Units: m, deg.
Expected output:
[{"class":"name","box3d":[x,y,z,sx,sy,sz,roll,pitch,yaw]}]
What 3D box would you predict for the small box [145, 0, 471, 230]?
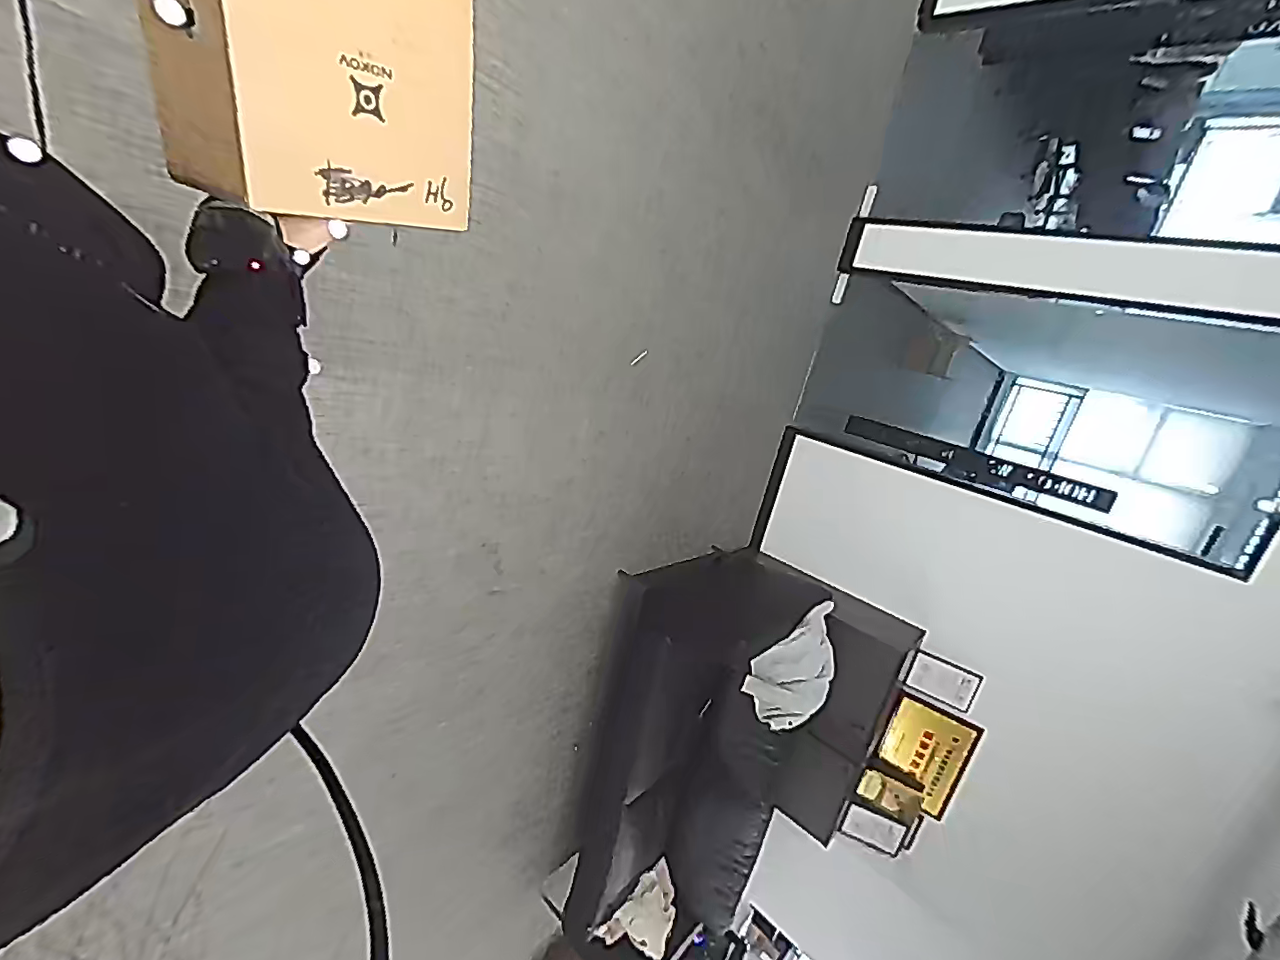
[{"class":"small box","box3d":[-0.252,-0.306,0.423,0.168,0.176,0.179,-22,130,-46]}]
